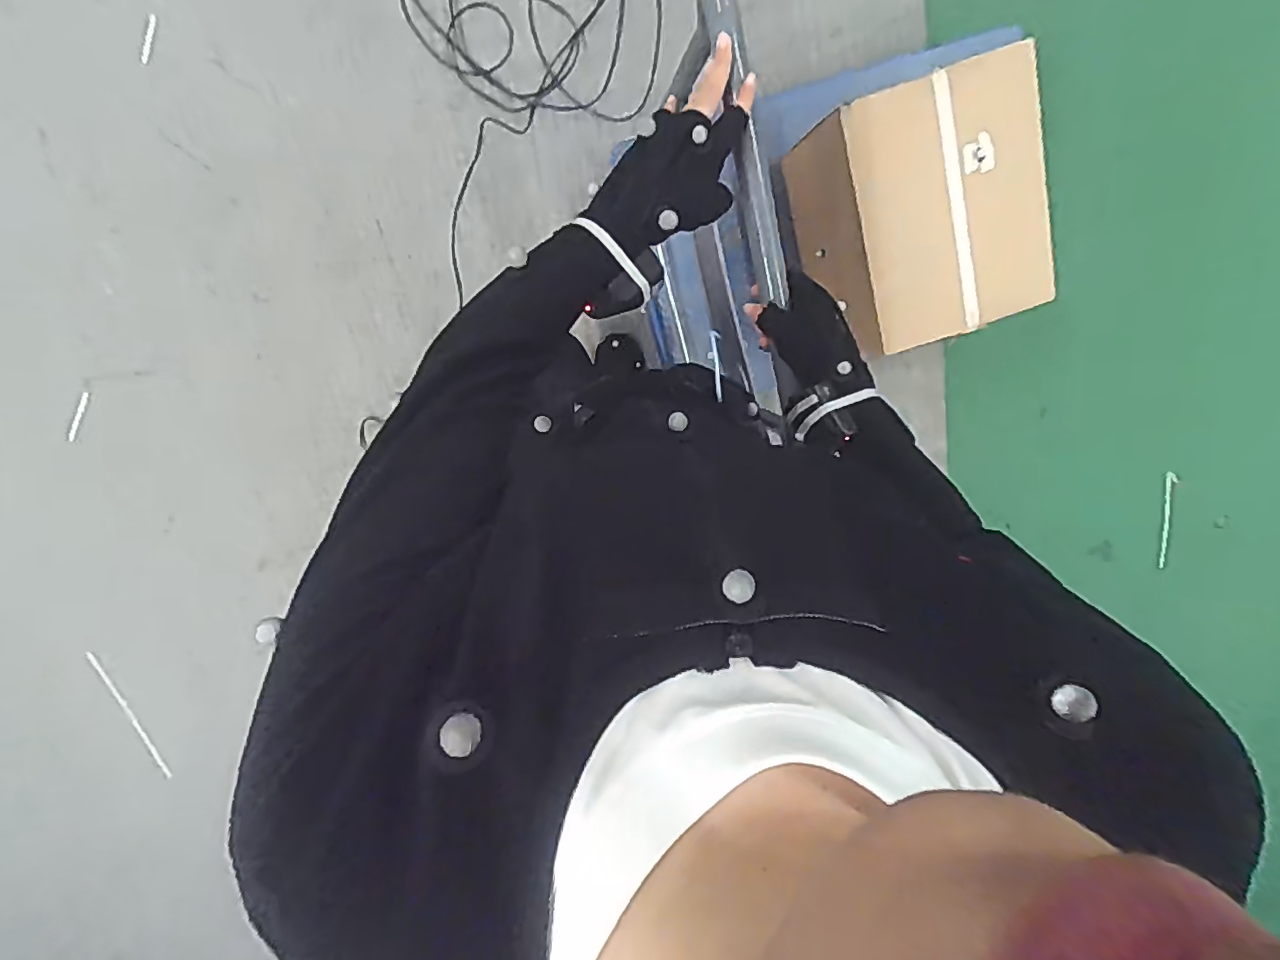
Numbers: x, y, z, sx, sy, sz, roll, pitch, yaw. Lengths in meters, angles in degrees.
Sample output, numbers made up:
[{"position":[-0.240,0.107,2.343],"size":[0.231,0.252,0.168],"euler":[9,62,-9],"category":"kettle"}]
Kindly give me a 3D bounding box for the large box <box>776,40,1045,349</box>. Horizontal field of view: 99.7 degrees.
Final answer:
[{"position":[0.496,-0.498,1.043],"size":[0.320,0.320,0.408],"euler":[-19,106,1],"category":"large box"}]
